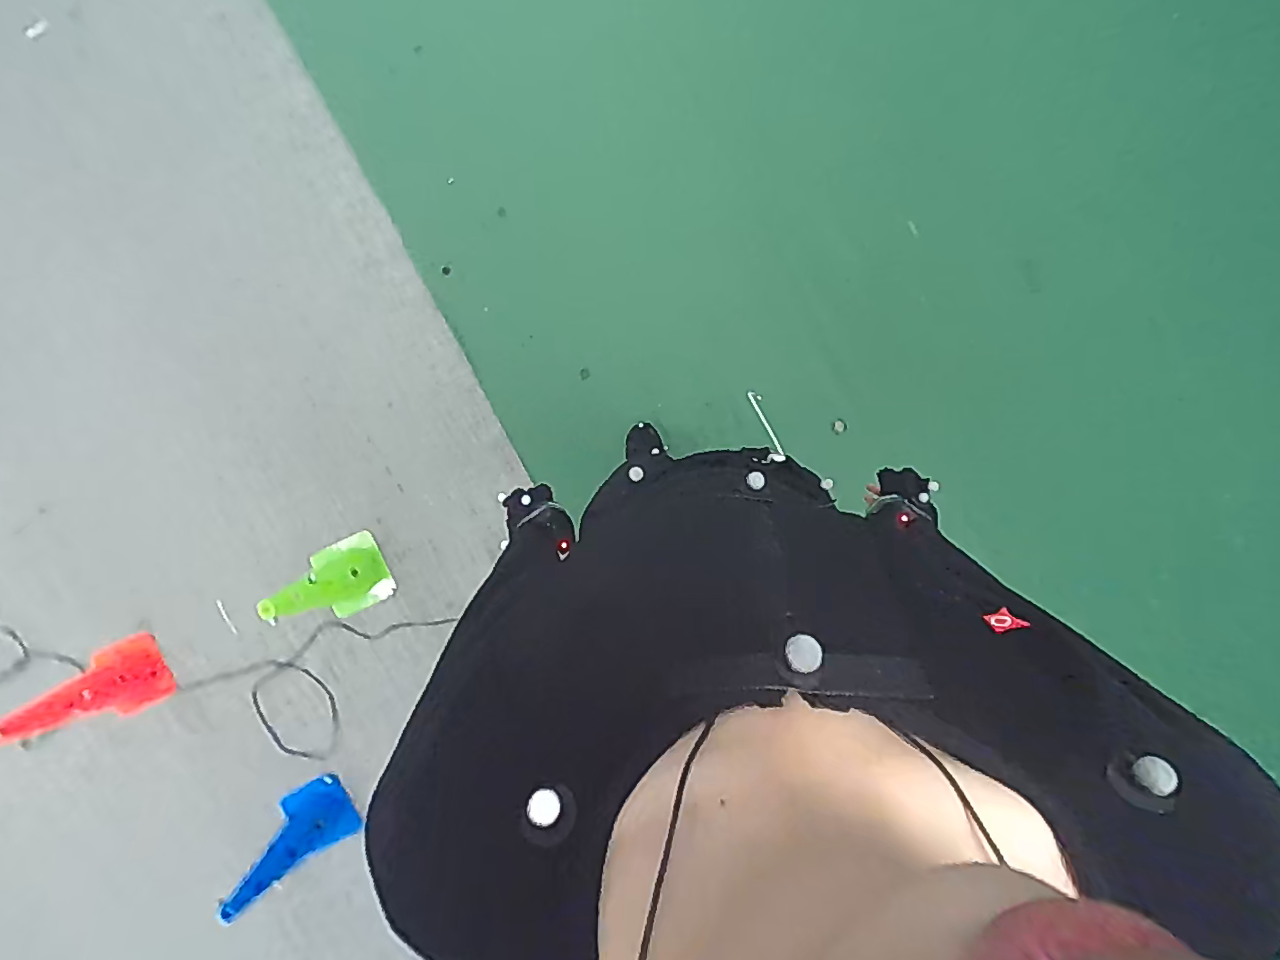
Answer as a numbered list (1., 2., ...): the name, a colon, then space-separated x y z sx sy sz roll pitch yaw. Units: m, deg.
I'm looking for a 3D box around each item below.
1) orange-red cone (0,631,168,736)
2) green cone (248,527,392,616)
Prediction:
1. orange-red cone: -1.503 0.567 1.413 0.199 0.360 0.198 -23 93 1
2. green cone: -0.839 0.264 1.374 0.202 0.368 0.200 -26 92 4
